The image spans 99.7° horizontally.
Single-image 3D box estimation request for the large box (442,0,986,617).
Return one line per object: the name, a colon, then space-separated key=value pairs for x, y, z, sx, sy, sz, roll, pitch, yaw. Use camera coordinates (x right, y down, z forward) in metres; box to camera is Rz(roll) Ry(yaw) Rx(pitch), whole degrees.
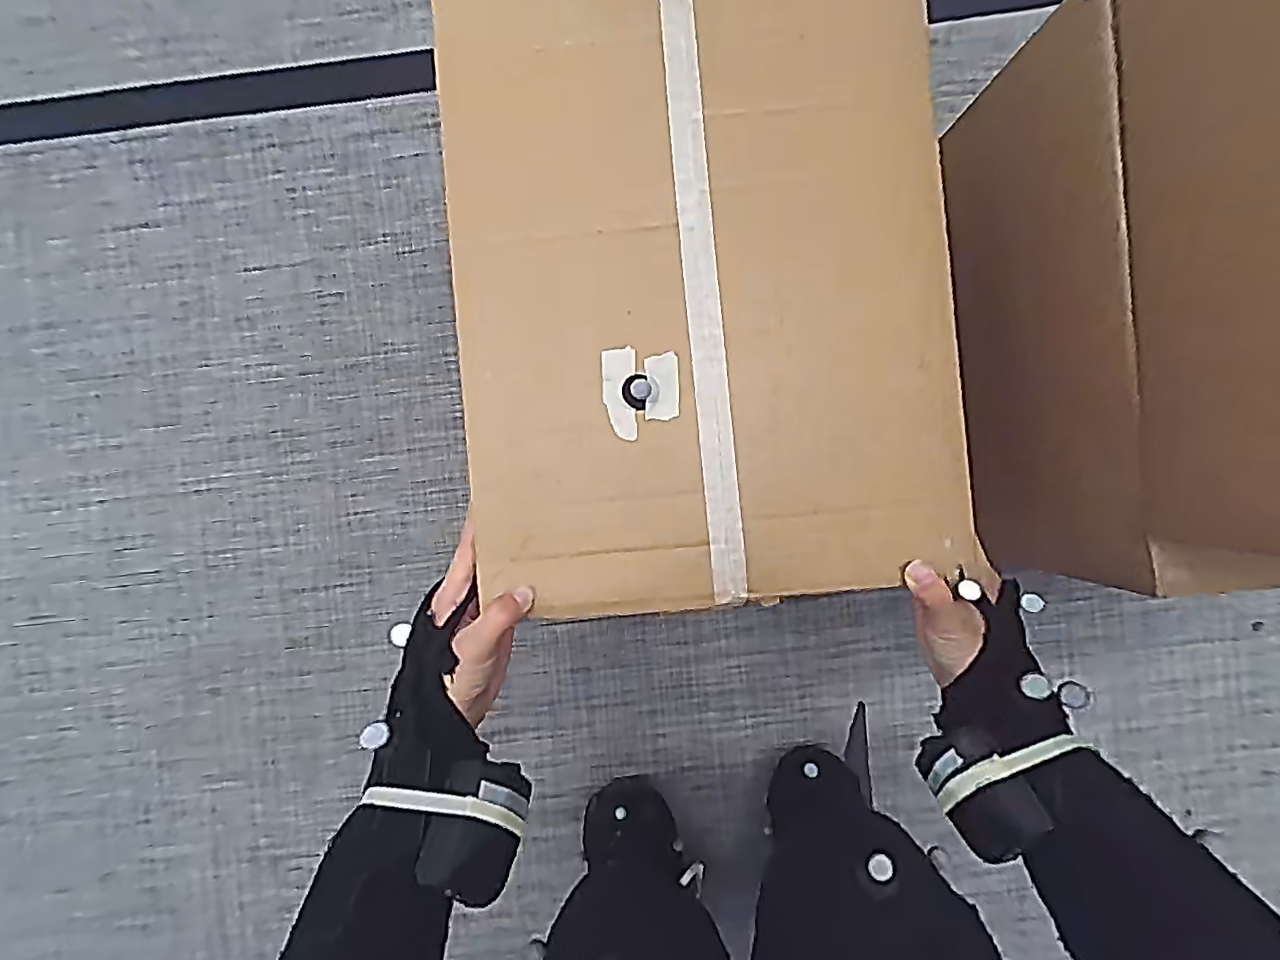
large box: x=0.046 y=-0.126 z=0.492 sx=0.320 sy=0.320 sz=0.408 roll=-6 pitch=90 yaw=1
